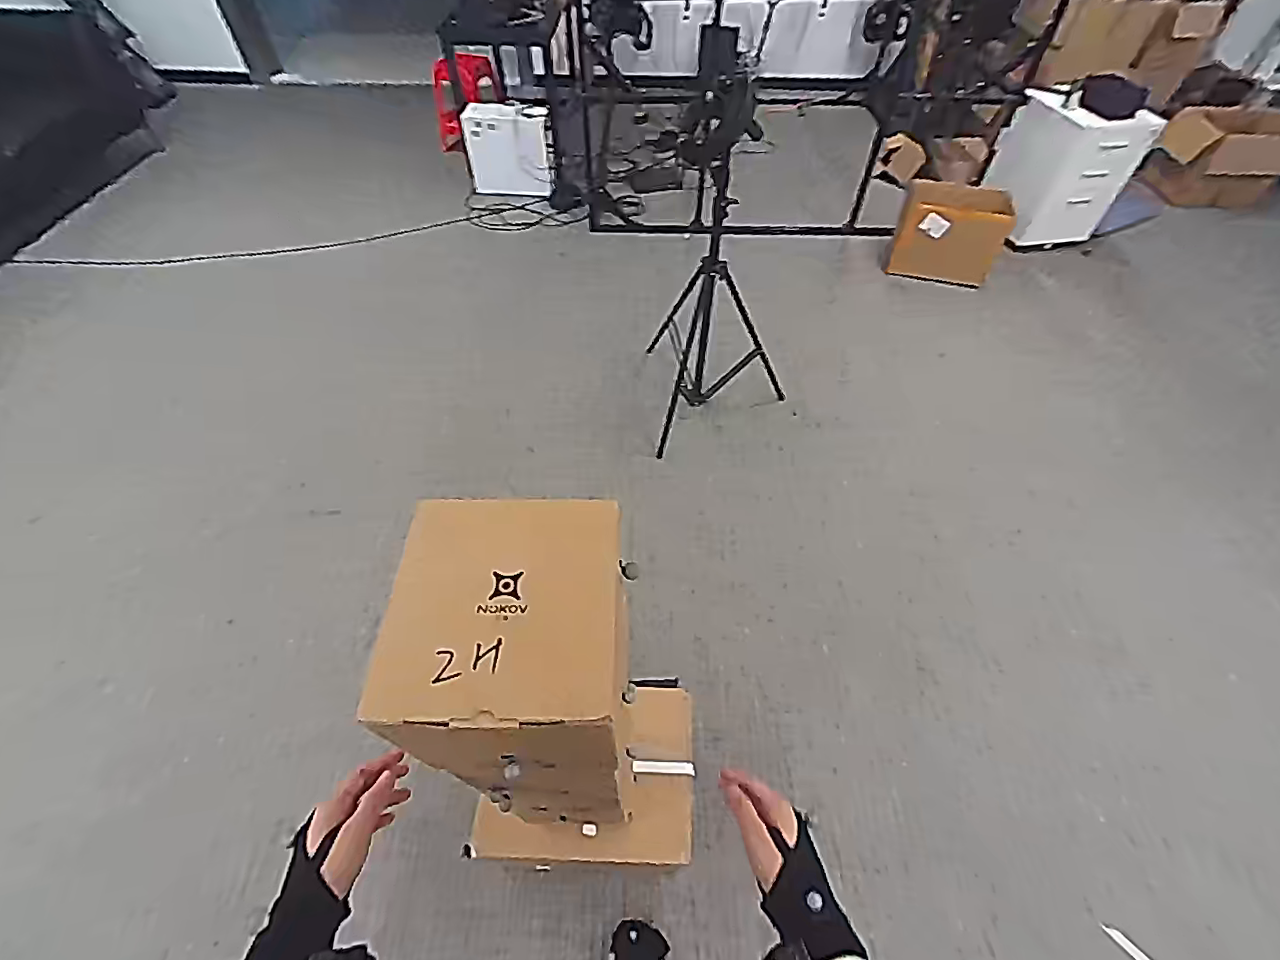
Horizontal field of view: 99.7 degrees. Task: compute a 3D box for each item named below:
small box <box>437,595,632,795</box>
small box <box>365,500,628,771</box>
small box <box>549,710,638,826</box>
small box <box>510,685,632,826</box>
[{"bbox_3d":[-0.096,0.234,0.592,0.168,0.176,0.179,2,52,1],"label":"small box"},{"bbox_3d":[-0.096,0.135,0.460,0.168,0.176,0.179,0,53,0],"label":"small box"},{"bbox_3d":[-0.093,0.527,0.985,0.179,0.176,0.168,0,53,-1],"label":"small box"},{"bbox_3d":[-0.097,0.433,0.853,0.168,0.176,0.179,0,53,0],"label":"small box"}]
